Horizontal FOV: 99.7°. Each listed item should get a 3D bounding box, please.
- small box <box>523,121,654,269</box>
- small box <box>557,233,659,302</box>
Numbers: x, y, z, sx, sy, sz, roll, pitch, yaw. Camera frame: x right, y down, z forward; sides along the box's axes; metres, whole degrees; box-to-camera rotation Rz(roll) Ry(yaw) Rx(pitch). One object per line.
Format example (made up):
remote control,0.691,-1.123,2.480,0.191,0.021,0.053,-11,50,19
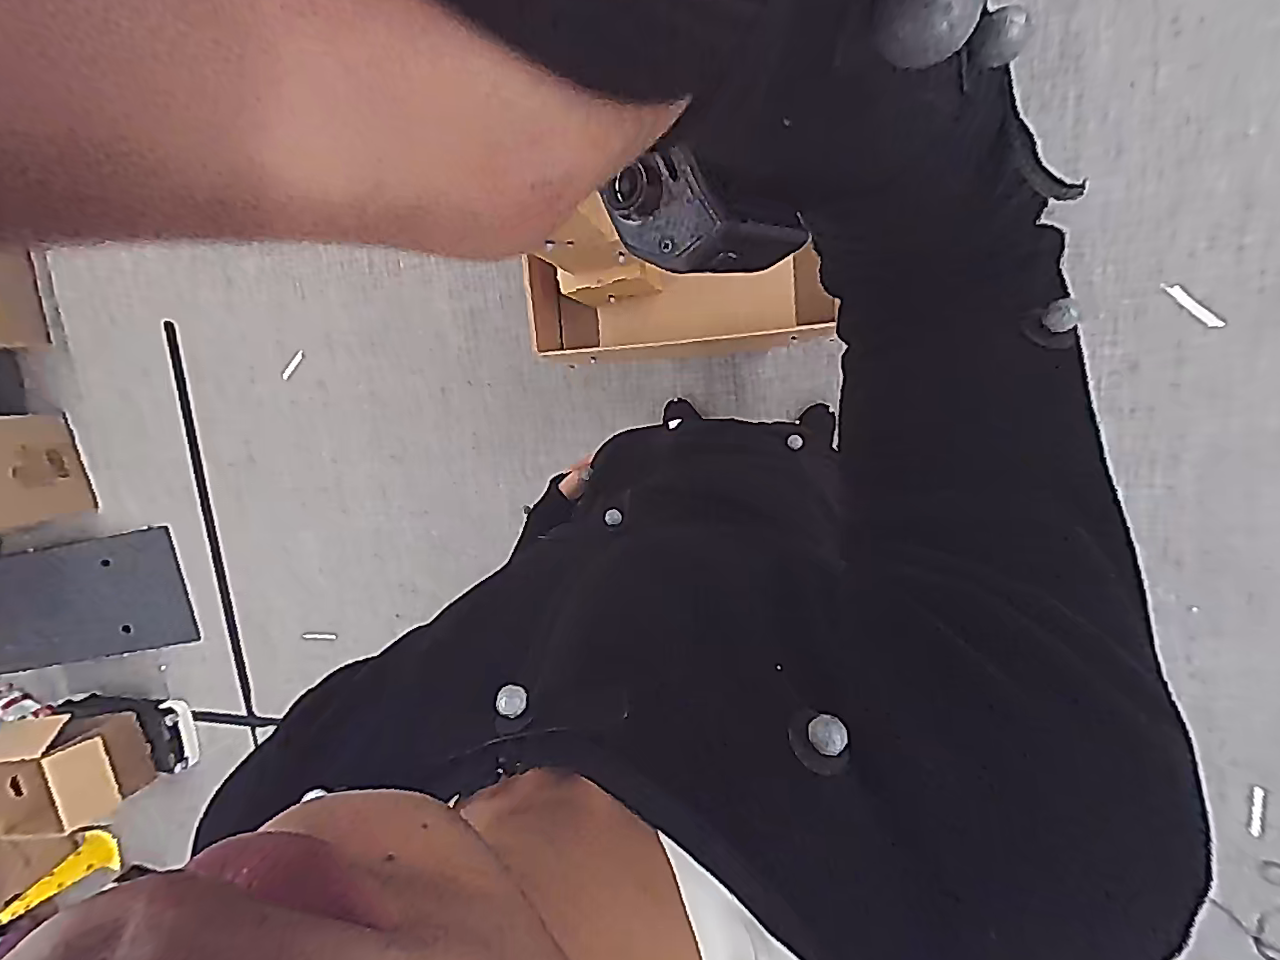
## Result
small box,-0.077,-0.469,0.918,0.179,0.176,0.168,-3,98,15
small box,-0.066,-0.472,1.085,0.168,0.176,0.179,-7,98,16
